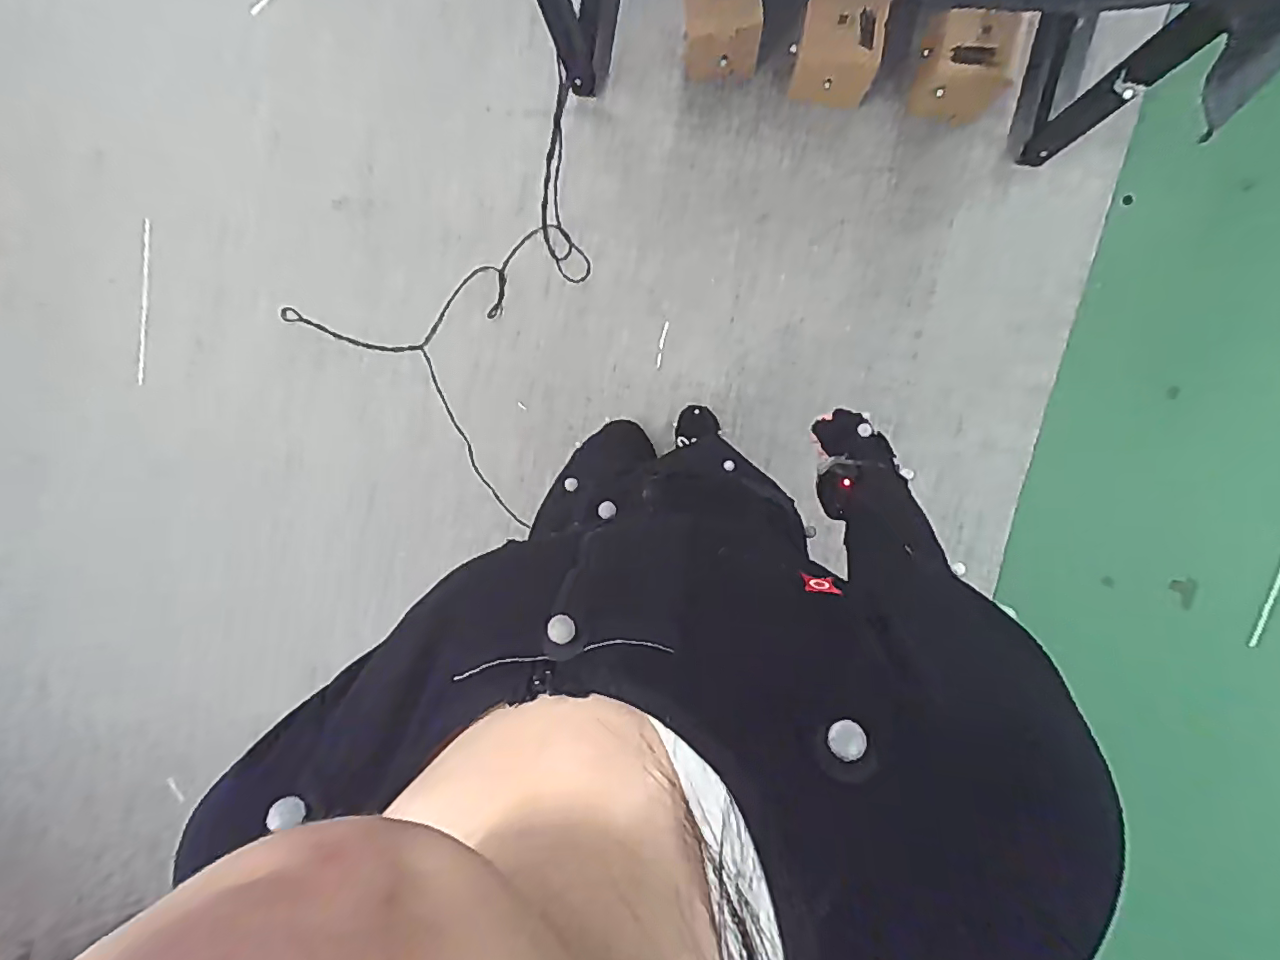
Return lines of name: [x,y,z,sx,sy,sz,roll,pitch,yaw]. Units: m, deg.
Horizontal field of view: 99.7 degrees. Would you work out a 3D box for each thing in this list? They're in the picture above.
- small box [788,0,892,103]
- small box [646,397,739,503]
small box: [0.452,-1.001,1.239,0.179,0.176,0.168,10,98,5]
small box: [0.135,-0.075,1.402,0.179,0.176,0.168,-39,64,-13]
